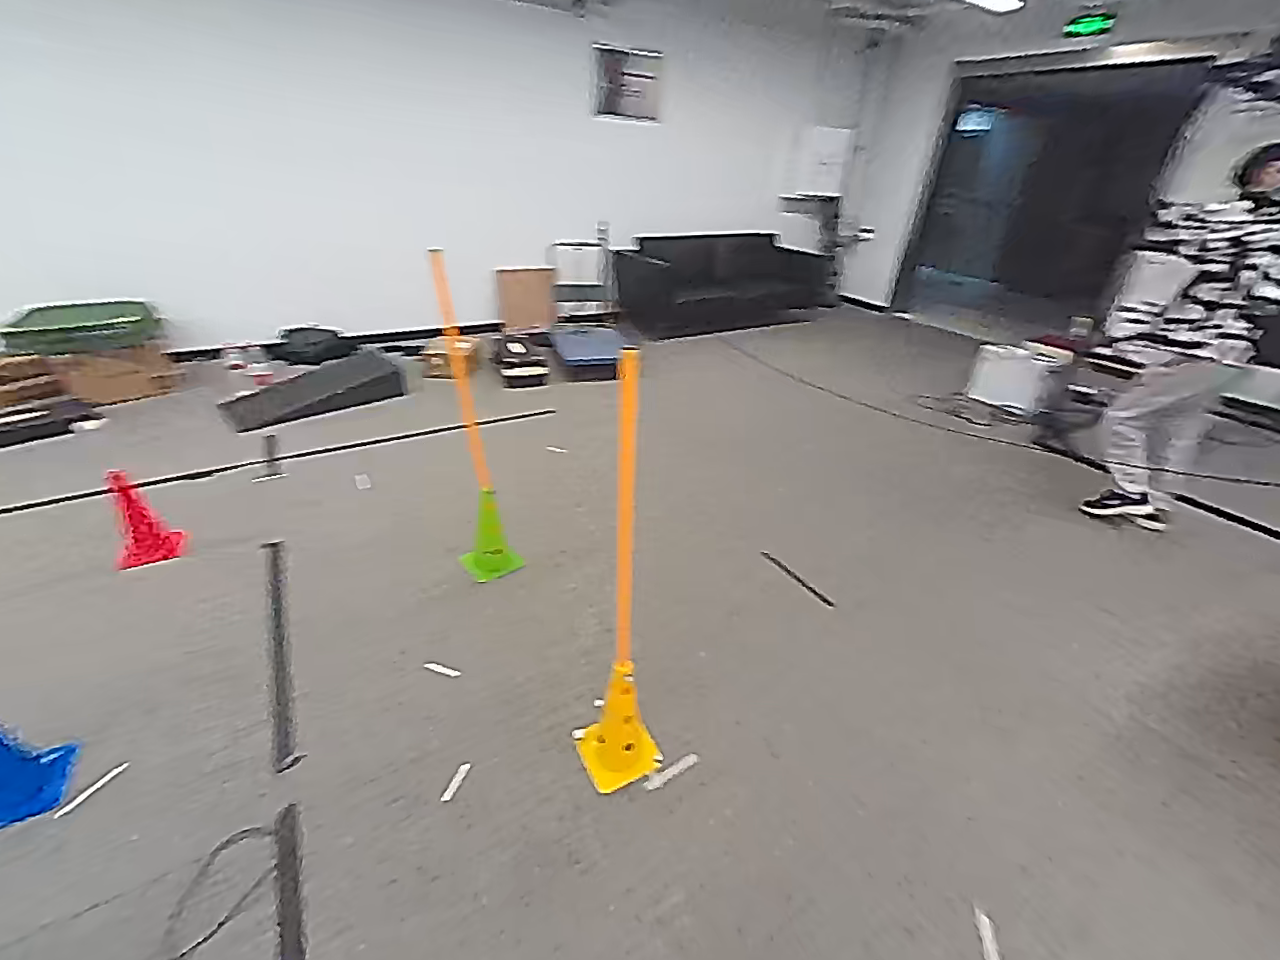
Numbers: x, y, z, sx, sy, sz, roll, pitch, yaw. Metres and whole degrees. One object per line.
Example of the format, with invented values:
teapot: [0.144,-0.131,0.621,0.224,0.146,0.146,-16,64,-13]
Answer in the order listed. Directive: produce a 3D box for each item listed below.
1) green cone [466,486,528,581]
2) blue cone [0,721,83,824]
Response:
green cone: [-0.578,0.185,2.144,0.200,0.368,0.202,-22,40,-36]
blue cone: [-1.538,0.633,1.283,0.193,0.380,0.192,-12,34,-25]
